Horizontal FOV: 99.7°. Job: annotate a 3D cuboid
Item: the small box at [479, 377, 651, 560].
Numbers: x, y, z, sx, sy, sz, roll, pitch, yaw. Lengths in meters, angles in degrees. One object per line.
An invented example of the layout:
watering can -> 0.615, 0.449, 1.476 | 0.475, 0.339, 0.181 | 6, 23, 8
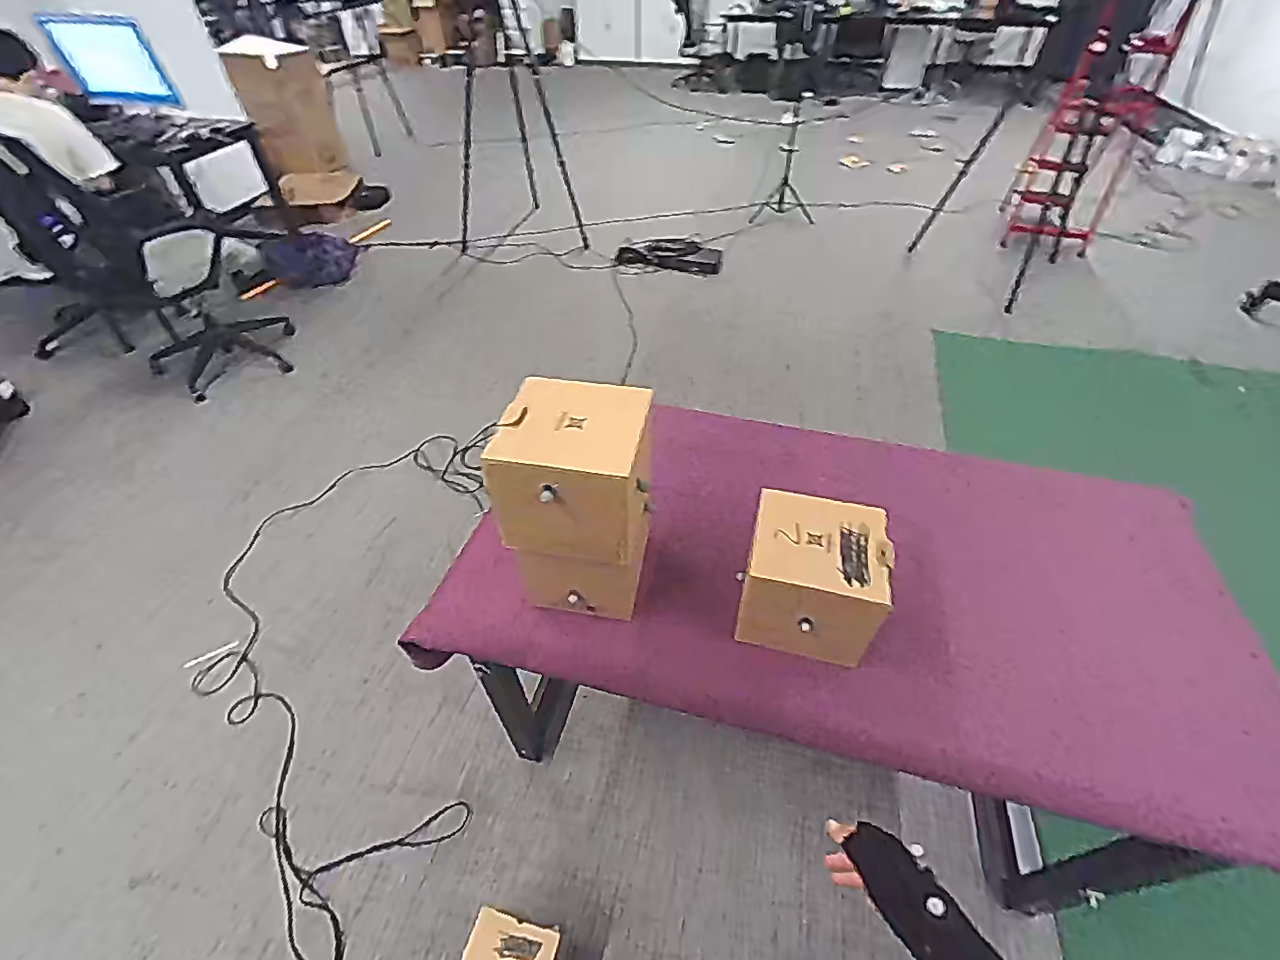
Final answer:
small box -> -0.086, -0.013, 0.720 | 0.179, 0.176, 0.168 | 8, 47, 7

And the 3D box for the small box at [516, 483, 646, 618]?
small box -> -0.088, 0.088, 0.849 | 0.168, 0.176, 0.179 | 8, 46, 7
